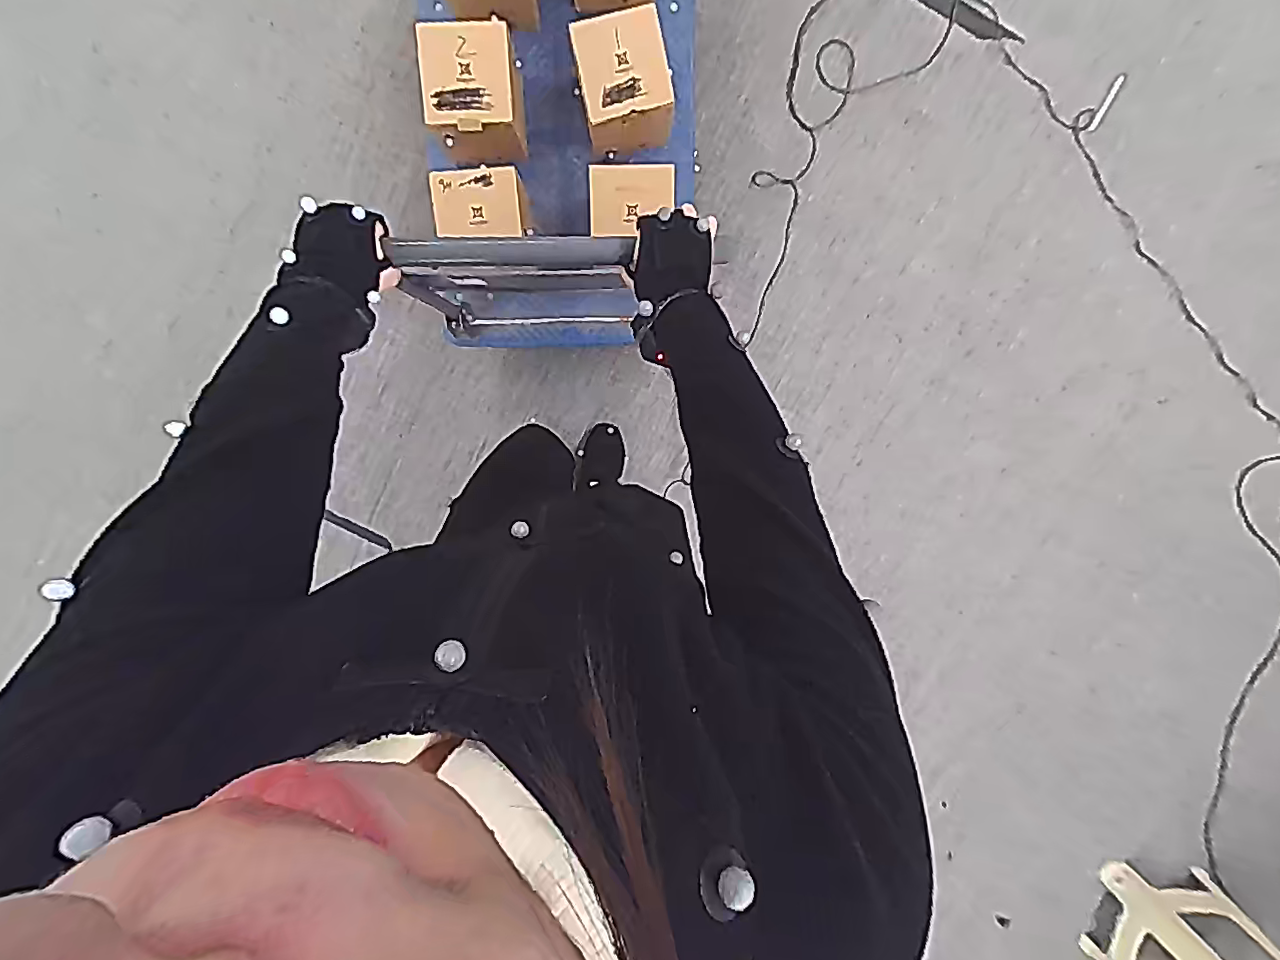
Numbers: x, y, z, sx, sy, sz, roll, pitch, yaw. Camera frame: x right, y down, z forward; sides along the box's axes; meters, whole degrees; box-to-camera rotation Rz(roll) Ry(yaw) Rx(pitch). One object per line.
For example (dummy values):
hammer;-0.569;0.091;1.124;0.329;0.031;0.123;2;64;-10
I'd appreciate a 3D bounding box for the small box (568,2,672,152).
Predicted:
small box;-0.037;-0.789;1.085;0.168;0.176;0.179;-14;99;0

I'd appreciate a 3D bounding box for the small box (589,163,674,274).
small box;-0.018;-0.536;1.129;0.168;0.176;0.179;-1;99;-2

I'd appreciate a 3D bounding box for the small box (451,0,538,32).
small box;-0.291;-1.014;1.037;0.168;0.176;0.179;0;101;-2

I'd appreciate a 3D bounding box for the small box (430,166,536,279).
small box;-0.315;-0.522;1.119;0.168;0.176;0.179;-5;100;-2
